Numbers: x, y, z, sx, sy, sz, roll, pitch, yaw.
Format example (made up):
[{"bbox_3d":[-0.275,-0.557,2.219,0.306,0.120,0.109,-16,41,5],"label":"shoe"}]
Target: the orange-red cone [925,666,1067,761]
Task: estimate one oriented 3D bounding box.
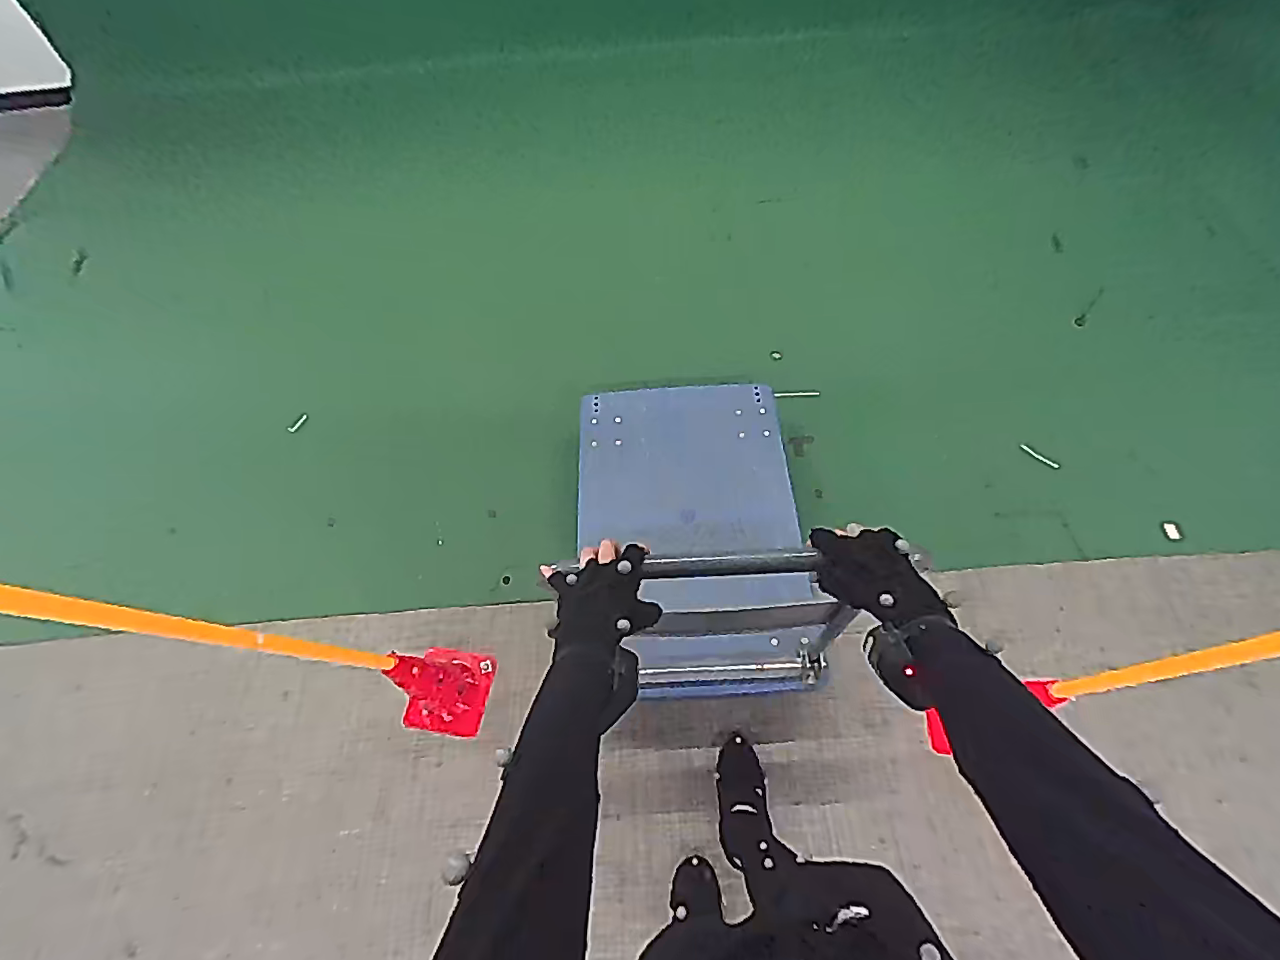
[{"bbox_3d":[0.792,0.479,1.164,0.198,0.360,0.199,5,62,7],"label":"orange-red cone"}]
